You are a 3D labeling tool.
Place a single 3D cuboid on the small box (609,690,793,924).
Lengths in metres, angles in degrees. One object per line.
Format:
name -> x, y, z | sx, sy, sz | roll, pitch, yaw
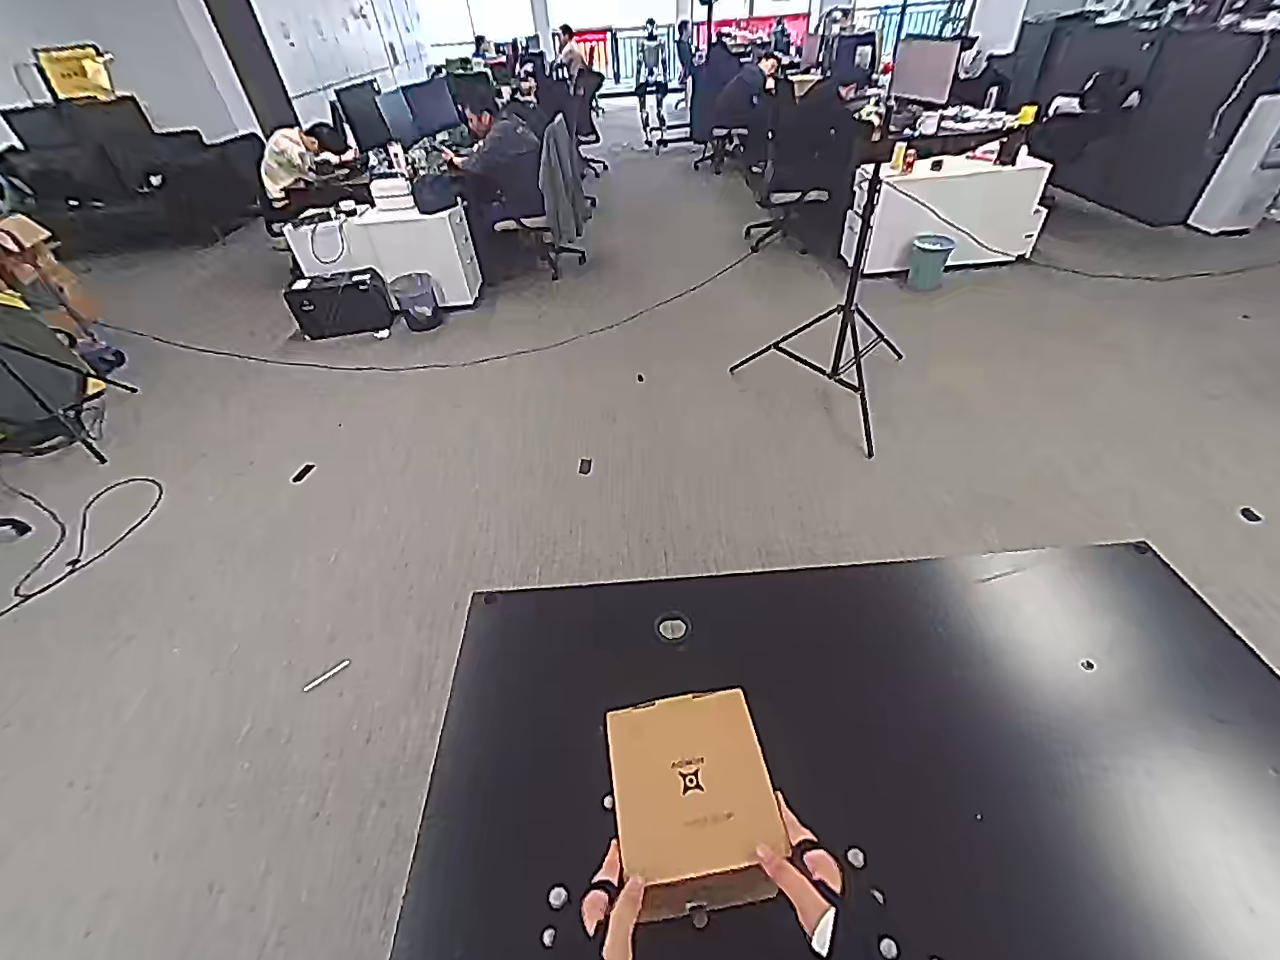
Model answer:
small box -> 0.060, 0.377, 0.629 | 0.168, 0.176, 0.179 | -10, 43, -4
